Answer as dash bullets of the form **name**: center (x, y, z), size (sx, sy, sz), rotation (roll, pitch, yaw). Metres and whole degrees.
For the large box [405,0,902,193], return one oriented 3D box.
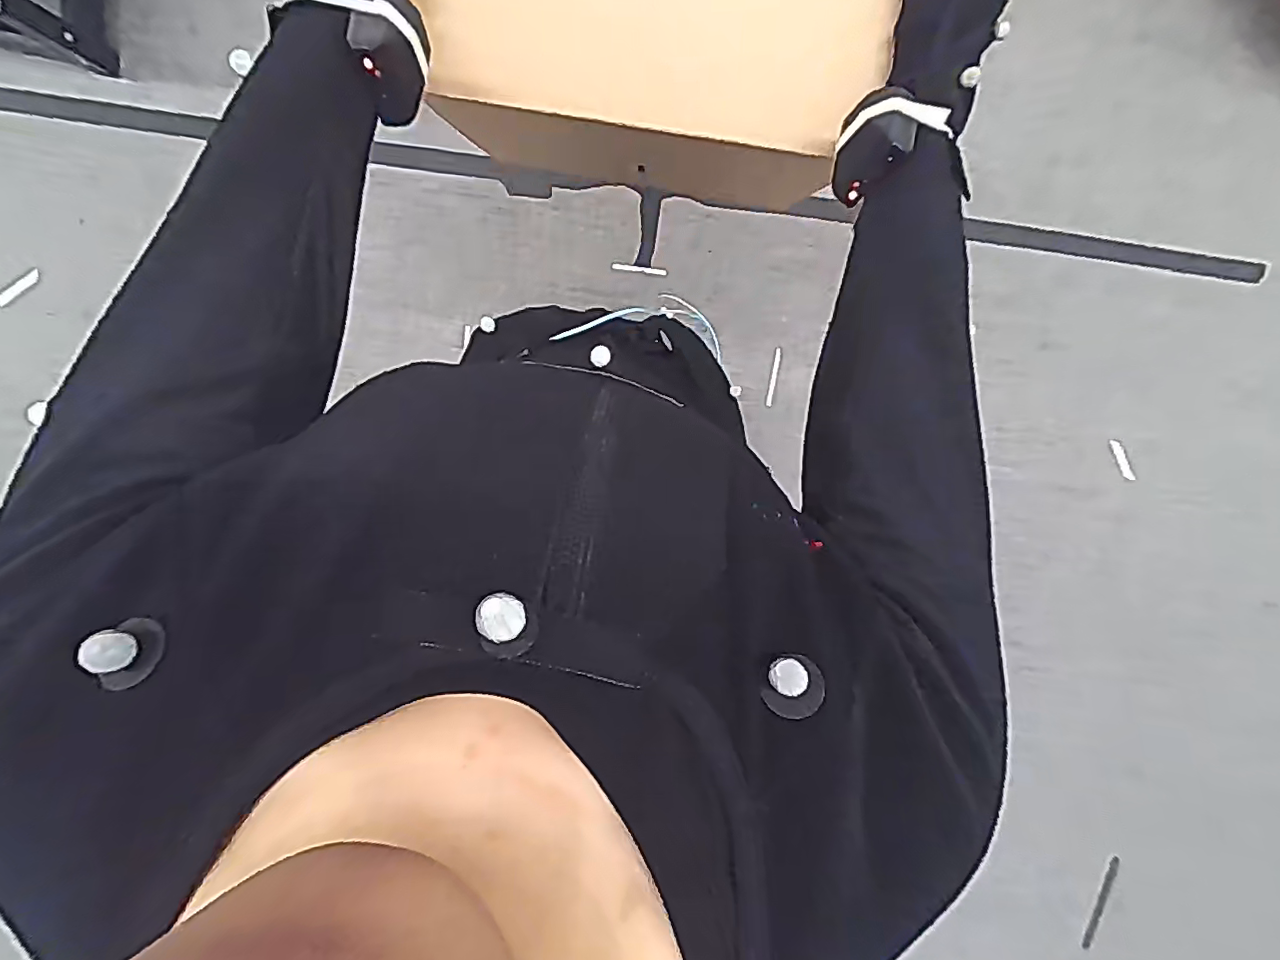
- **large box**: center (0.024, -0.504, 0.547), size (0.408, 0.320, 0.320), rotation (8, 110, -2)
